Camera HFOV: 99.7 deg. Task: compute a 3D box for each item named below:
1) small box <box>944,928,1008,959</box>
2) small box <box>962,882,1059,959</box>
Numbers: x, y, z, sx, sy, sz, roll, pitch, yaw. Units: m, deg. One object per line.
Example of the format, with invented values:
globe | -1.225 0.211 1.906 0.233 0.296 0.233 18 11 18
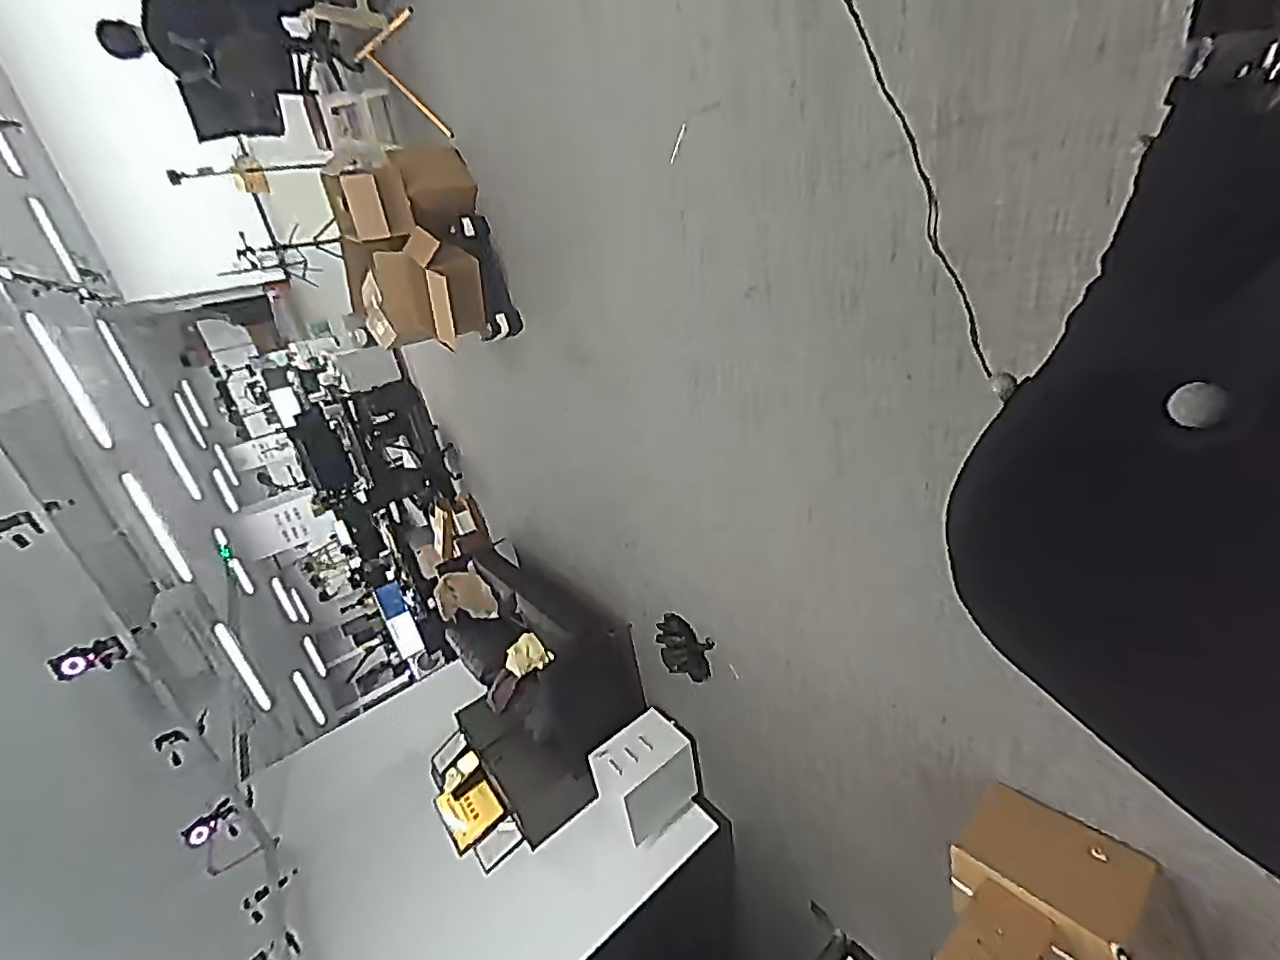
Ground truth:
small box | 0.888 1.331 1.400 0.168 0.176 0.179 14 121 52
small box | 1.015 1.269 1.481 0.179 0.176 0.168 16 123 53
